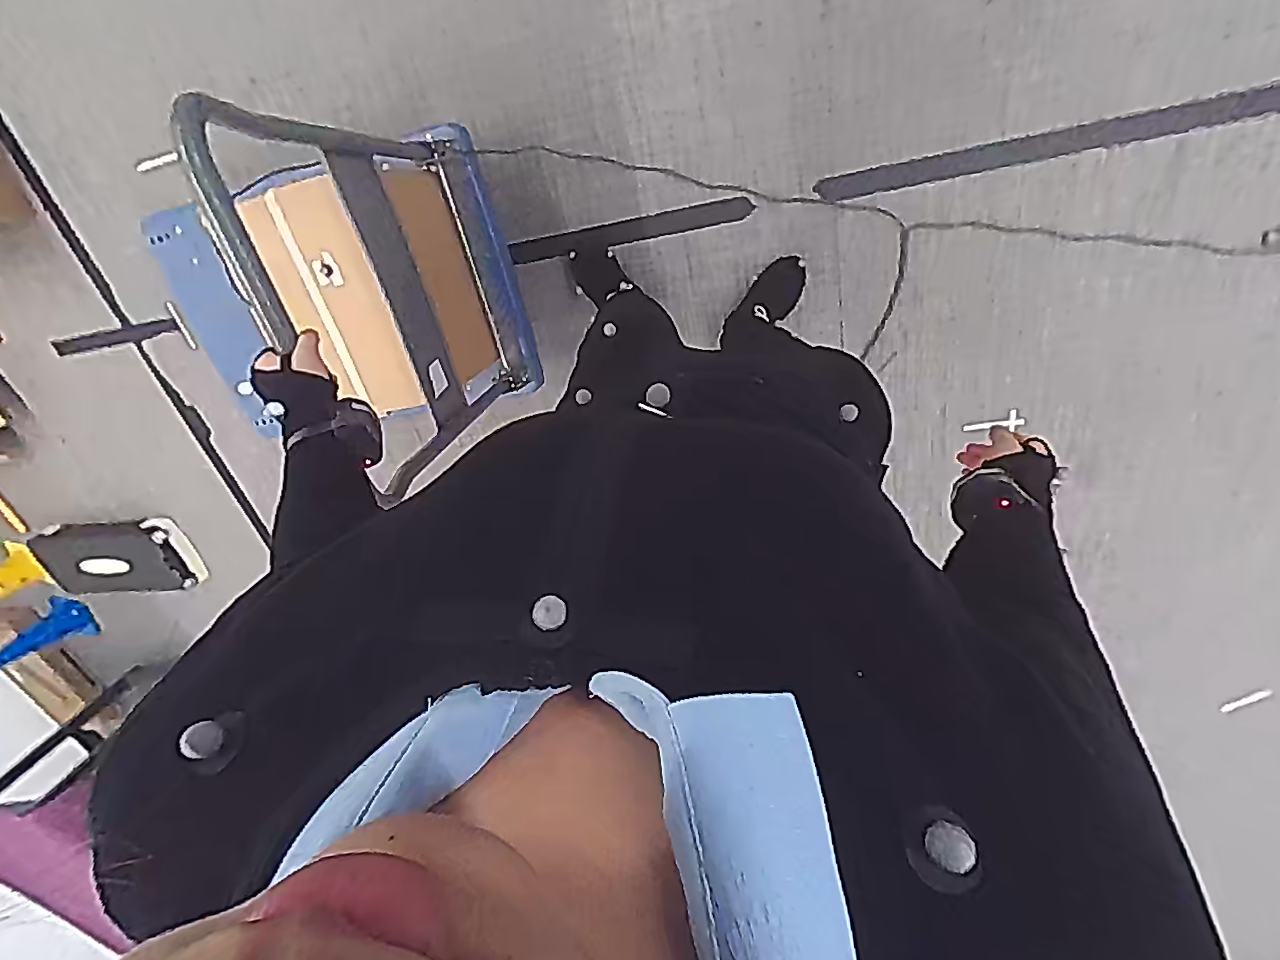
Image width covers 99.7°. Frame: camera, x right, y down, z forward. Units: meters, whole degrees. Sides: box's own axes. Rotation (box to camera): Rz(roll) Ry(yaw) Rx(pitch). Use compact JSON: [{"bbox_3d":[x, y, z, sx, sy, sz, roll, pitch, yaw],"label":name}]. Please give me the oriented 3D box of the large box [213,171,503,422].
[{"bbox_3d":[-0.540,-0.379,1.130,0.320,0.320,0.408,-8,116,14],"label":"large box"}]
